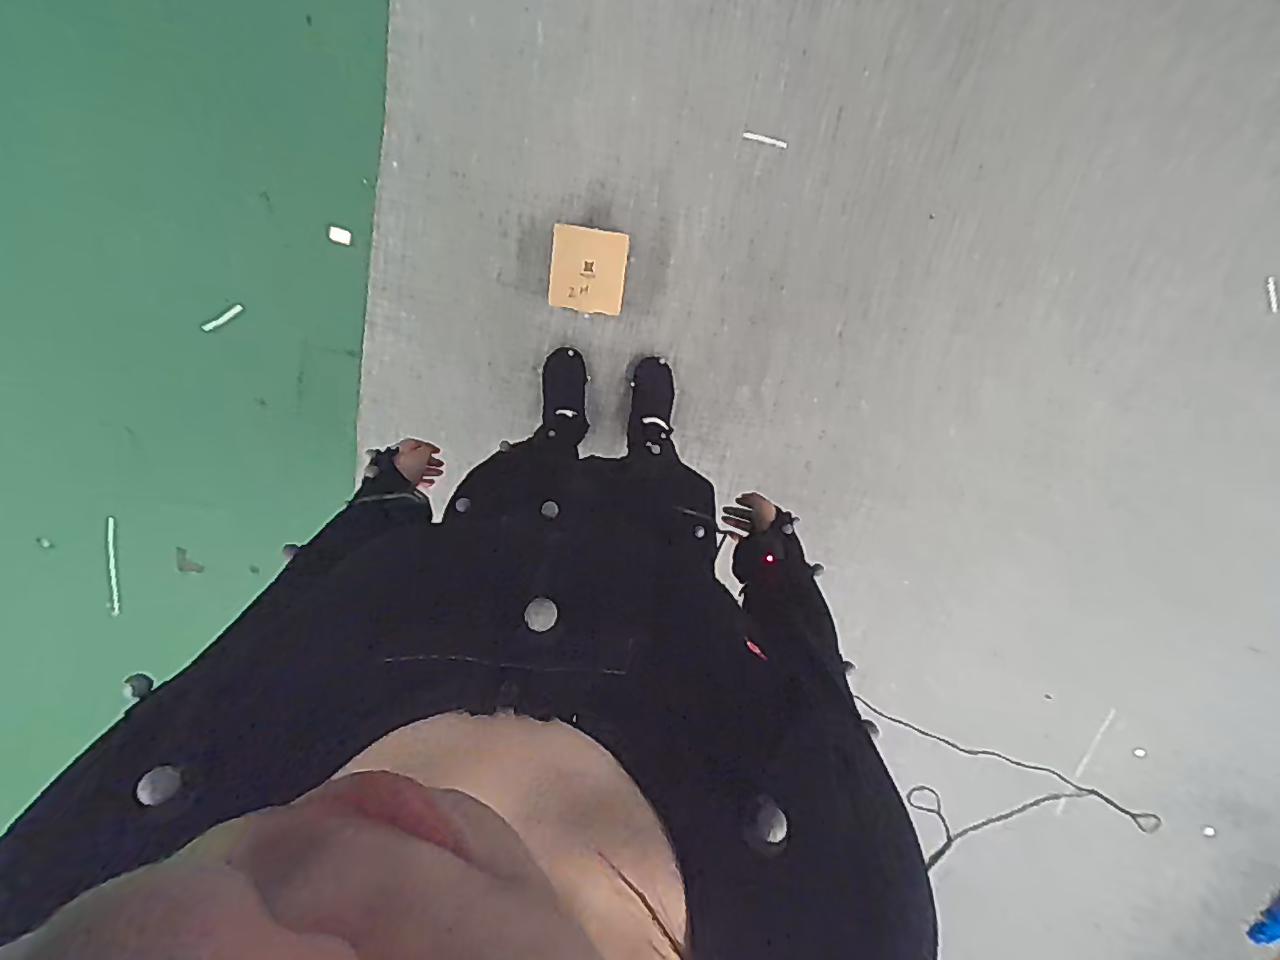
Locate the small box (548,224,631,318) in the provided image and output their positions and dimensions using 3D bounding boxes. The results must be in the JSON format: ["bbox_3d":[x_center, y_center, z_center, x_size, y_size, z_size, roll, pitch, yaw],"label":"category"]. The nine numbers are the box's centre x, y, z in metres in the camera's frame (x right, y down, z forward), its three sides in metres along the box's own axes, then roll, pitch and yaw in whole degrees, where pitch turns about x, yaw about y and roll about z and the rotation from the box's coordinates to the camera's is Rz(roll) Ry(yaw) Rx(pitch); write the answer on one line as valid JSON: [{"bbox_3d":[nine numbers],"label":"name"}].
[{"bbox_3d":[-0.116,-0.480,1.263,0.168,0.176,0.179,7,107,-4],"label":"small box"}]
